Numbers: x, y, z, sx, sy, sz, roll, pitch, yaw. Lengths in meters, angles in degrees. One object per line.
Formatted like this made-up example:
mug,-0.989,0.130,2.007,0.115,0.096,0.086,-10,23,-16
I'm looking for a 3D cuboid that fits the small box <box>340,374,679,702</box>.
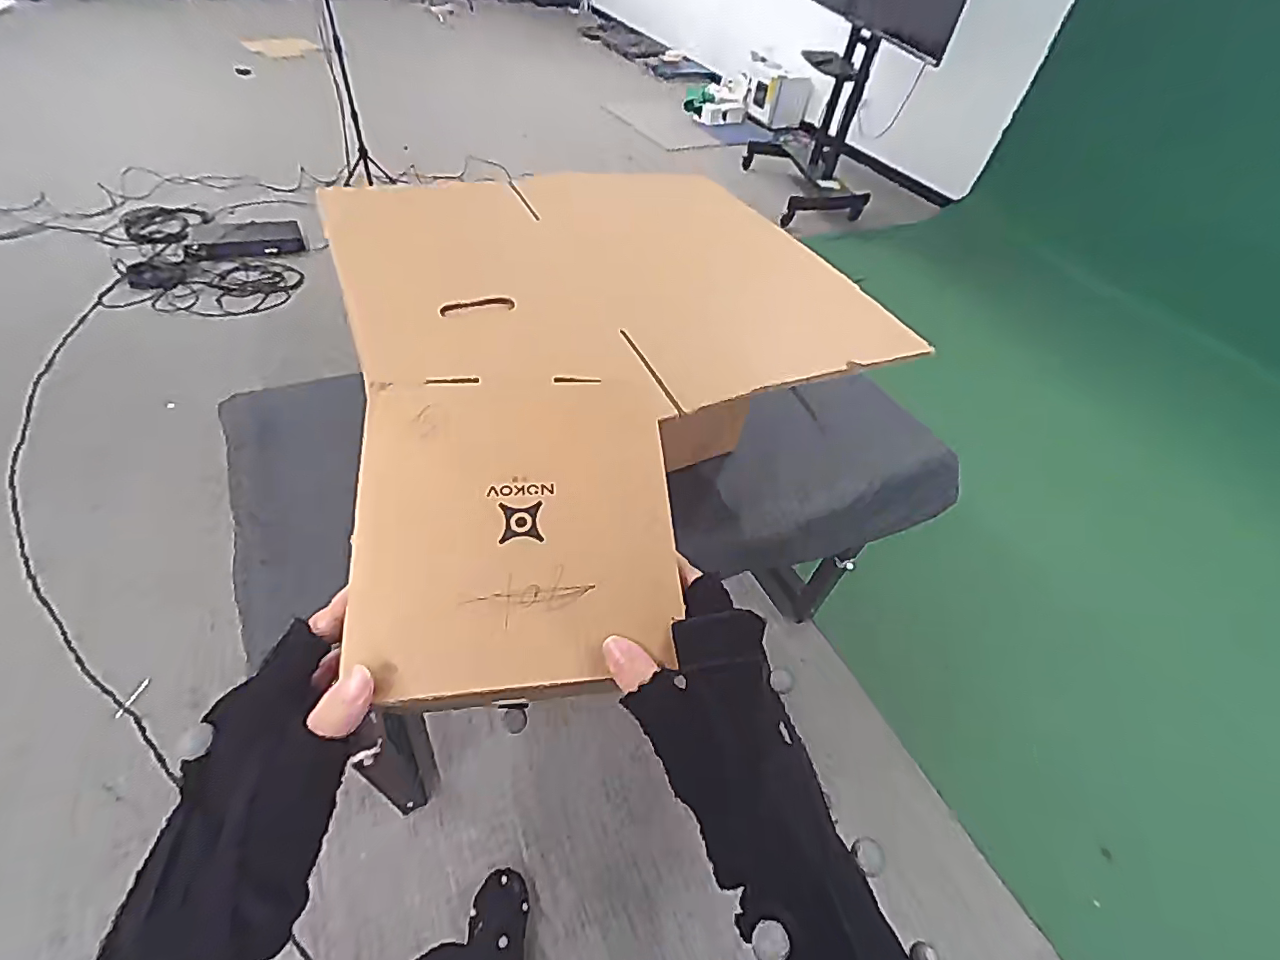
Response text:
small box,-0.079,0.047,0.369,0.168,0.176,0.179,-2,66,-10
